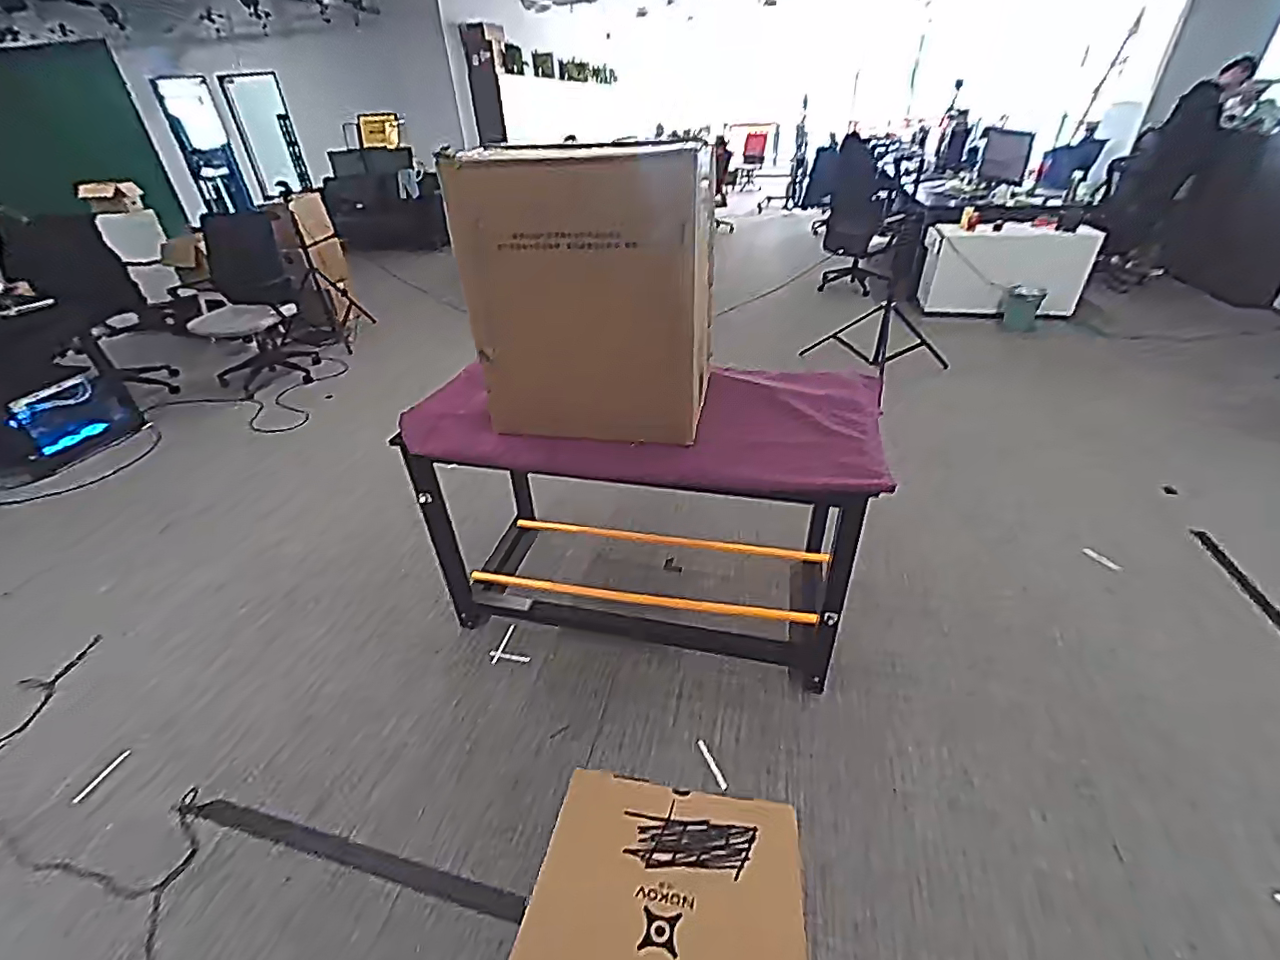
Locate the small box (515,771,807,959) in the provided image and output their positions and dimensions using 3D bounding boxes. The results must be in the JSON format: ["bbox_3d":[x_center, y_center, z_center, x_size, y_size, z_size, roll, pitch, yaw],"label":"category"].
[{"bbox_3d":[0.016,0.339,0.358,0.168,0.176,0.179,4,23,10],"label":"small box"}]
